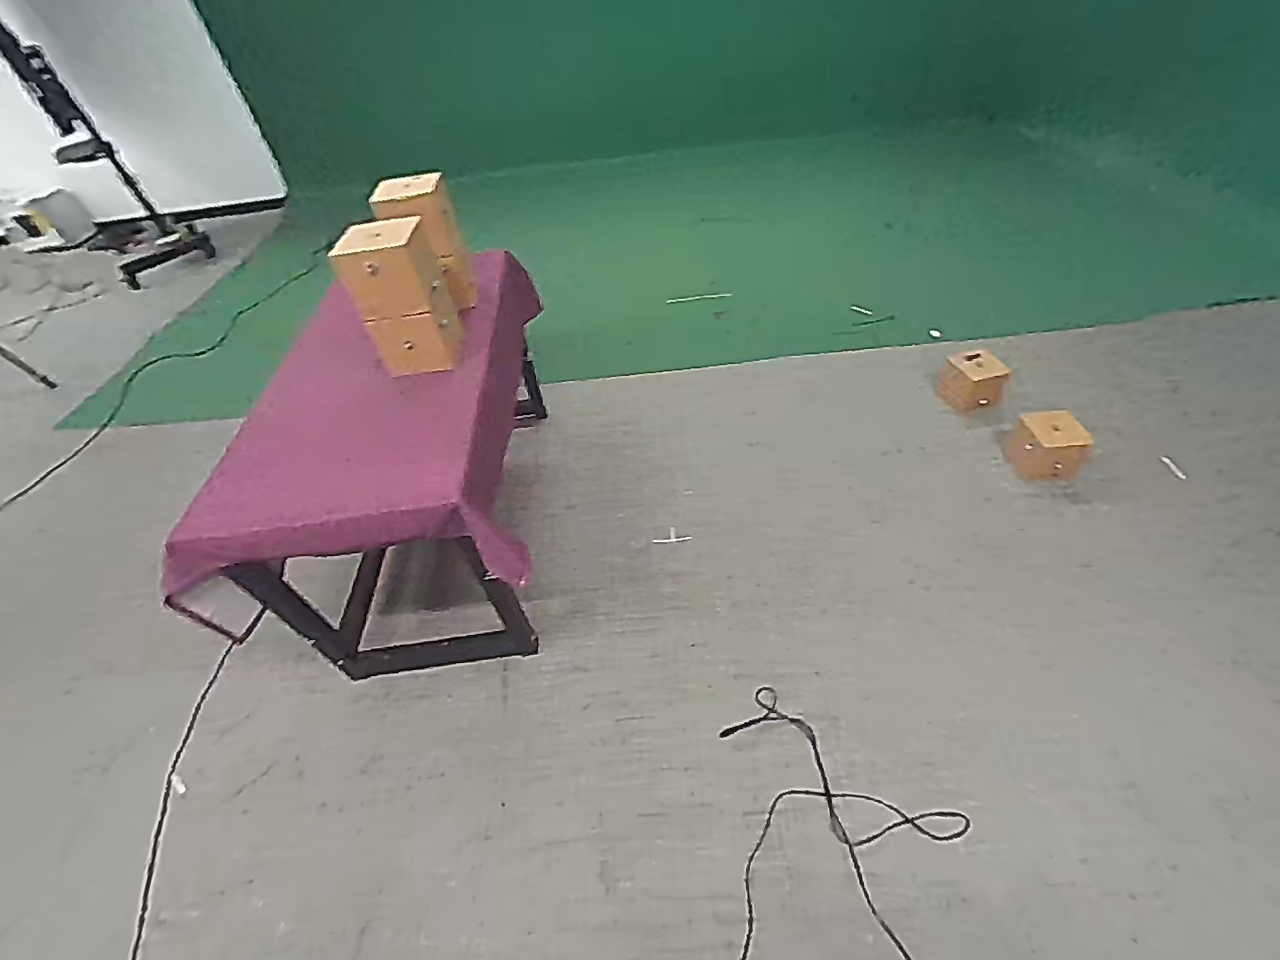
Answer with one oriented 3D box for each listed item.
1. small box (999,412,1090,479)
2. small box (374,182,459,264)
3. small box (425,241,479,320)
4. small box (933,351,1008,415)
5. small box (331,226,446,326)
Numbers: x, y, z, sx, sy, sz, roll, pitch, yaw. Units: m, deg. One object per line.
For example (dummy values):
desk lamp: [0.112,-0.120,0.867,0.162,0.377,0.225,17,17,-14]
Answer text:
small box: [1.408,-0.114,1.893,0.168,0.176,0.179,-5,46,3]
small box: [-0.629,-0.723,1.545,0.168,0.176,0.179,-9,46,-2]
small box: [-0.615,-0.609,1.663,0.179,0.176,0.168,-9,46,-1]
small box: [1.316,-0.386,2.169,0.168,0.176,0.179,-14,47,-5]
small box: [-0.601,-0.492,1.317,0.179,0.176,0.168,-6,46,3]
